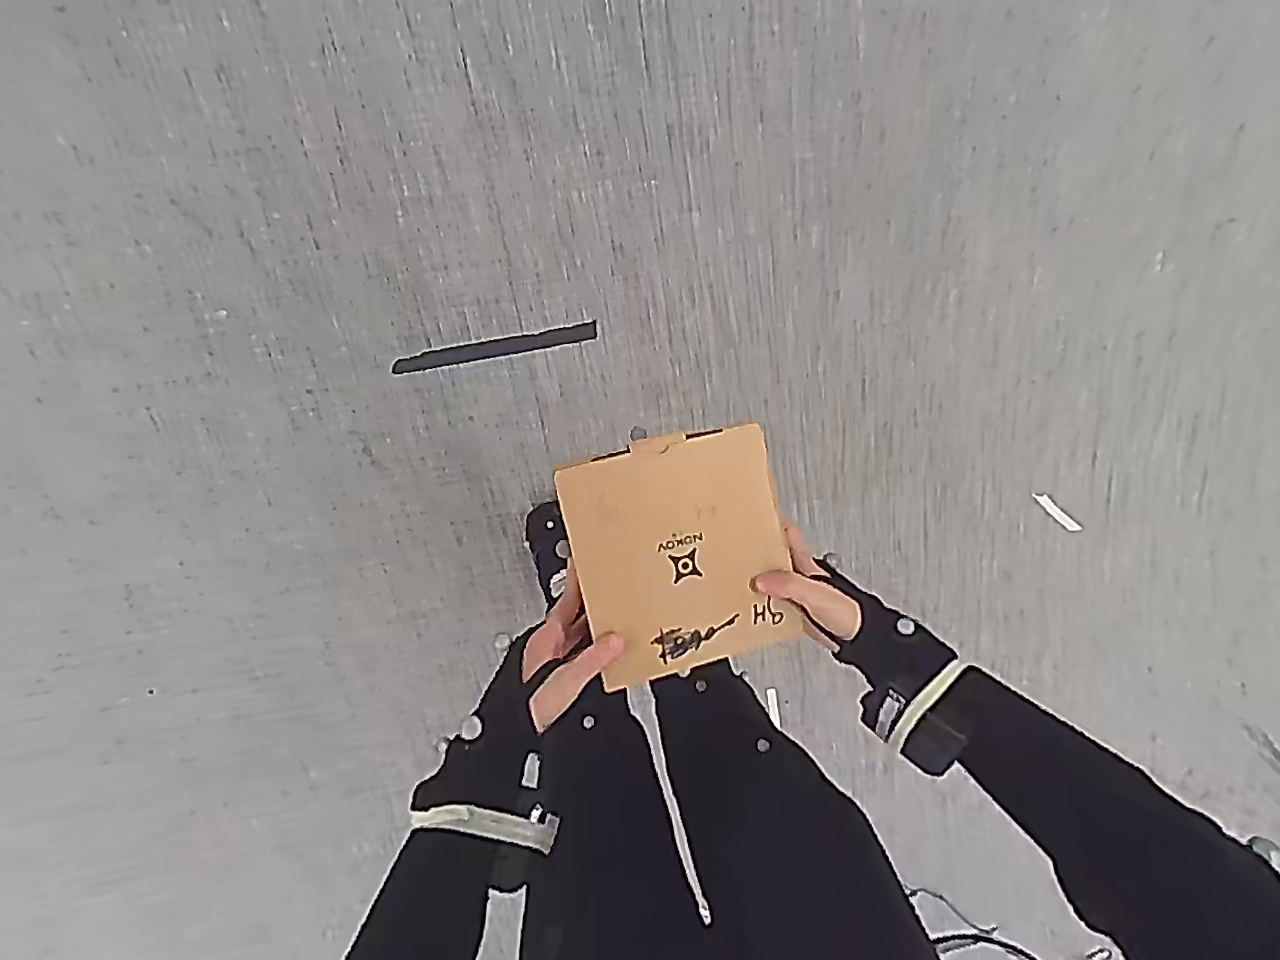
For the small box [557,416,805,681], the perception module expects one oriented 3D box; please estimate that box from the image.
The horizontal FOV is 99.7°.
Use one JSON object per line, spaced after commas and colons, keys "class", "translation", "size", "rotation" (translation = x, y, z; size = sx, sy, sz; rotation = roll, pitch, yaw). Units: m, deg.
{"class": "small box", "translation": [0.022, 0.049, 0.493], "size": [0.168, 0.176, 0.179], "rotation": [-14, 94, -9]}
